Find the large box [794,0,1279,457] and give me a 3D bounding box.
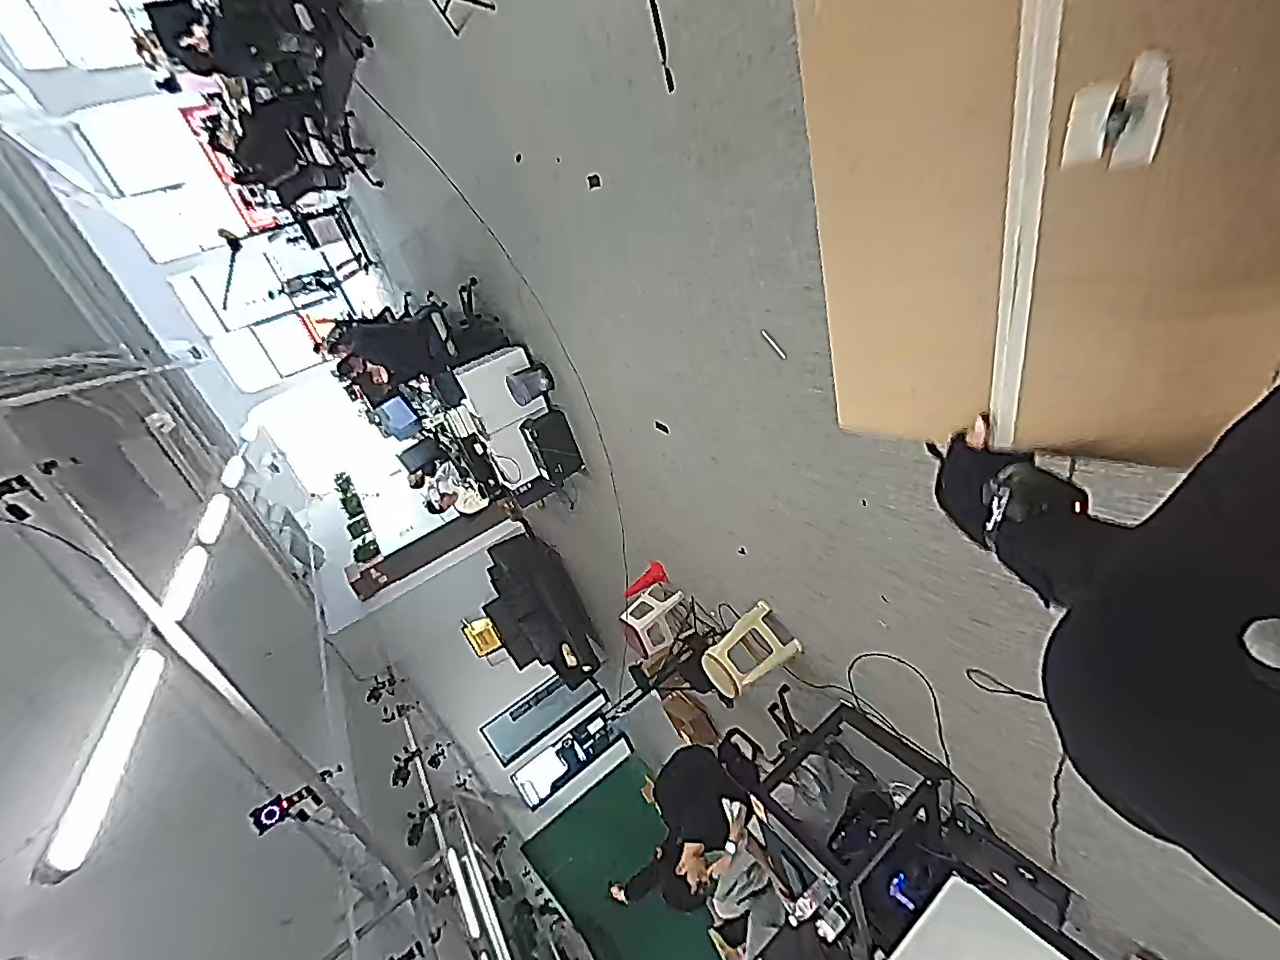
[{"bbox_3d":[0.380,-0.283,0.491,0.320,0.320,0.408,11,135,40],"label":"large box"}]
